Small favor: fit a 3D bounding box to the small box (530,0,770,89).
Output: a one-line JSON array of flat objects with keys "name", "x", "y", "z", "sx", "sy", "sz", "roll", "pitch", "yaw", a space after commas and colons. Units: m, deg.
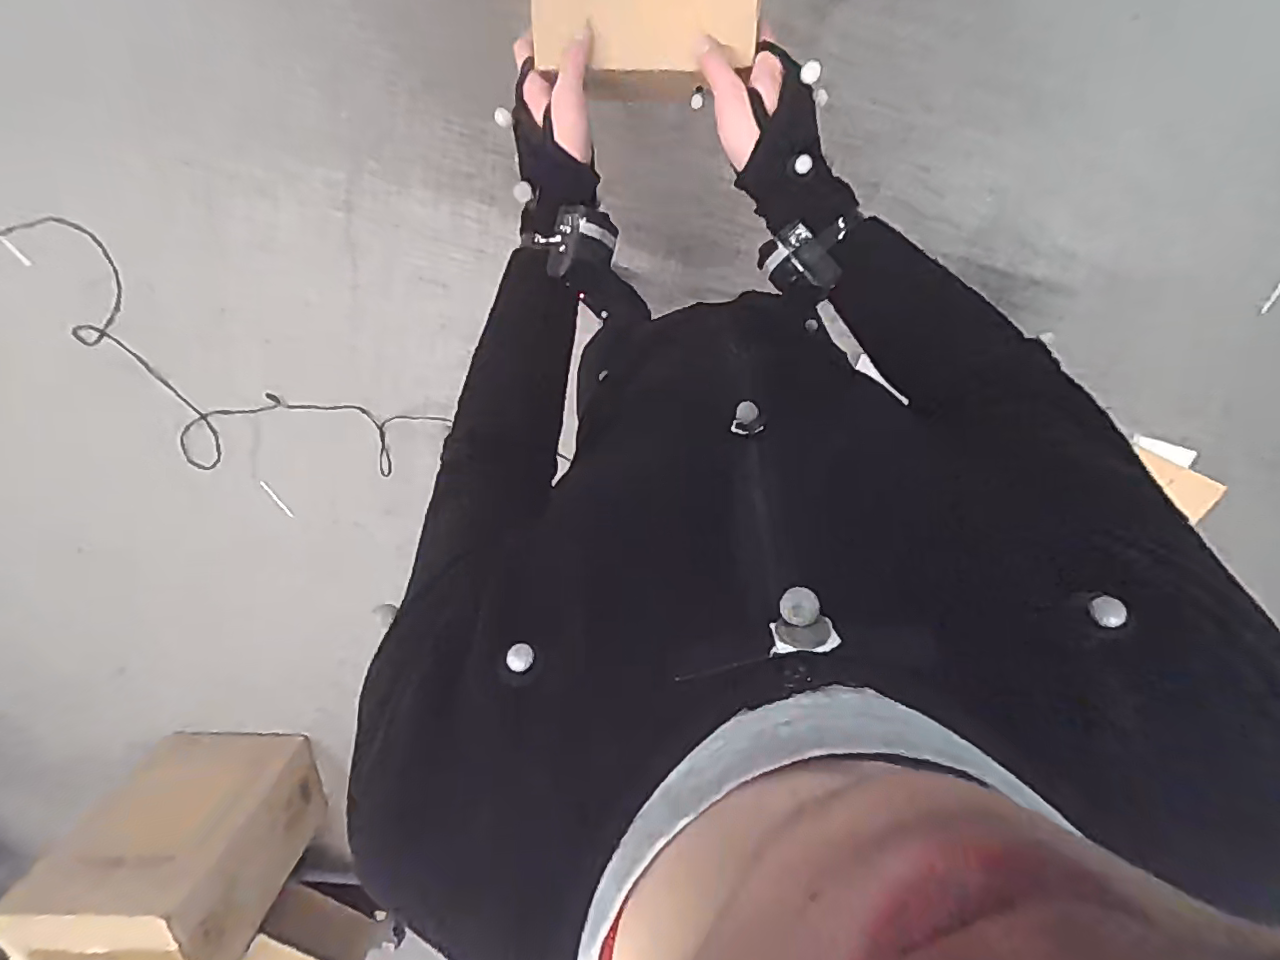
[{"name": "small box", "x": 0.013, "y": -0.432, "z": 0.435, "sx": 0.179, "sy": 0.176, "sz": 0.168, "roll": 3, "pitch": 117, "yaw": 5}]
